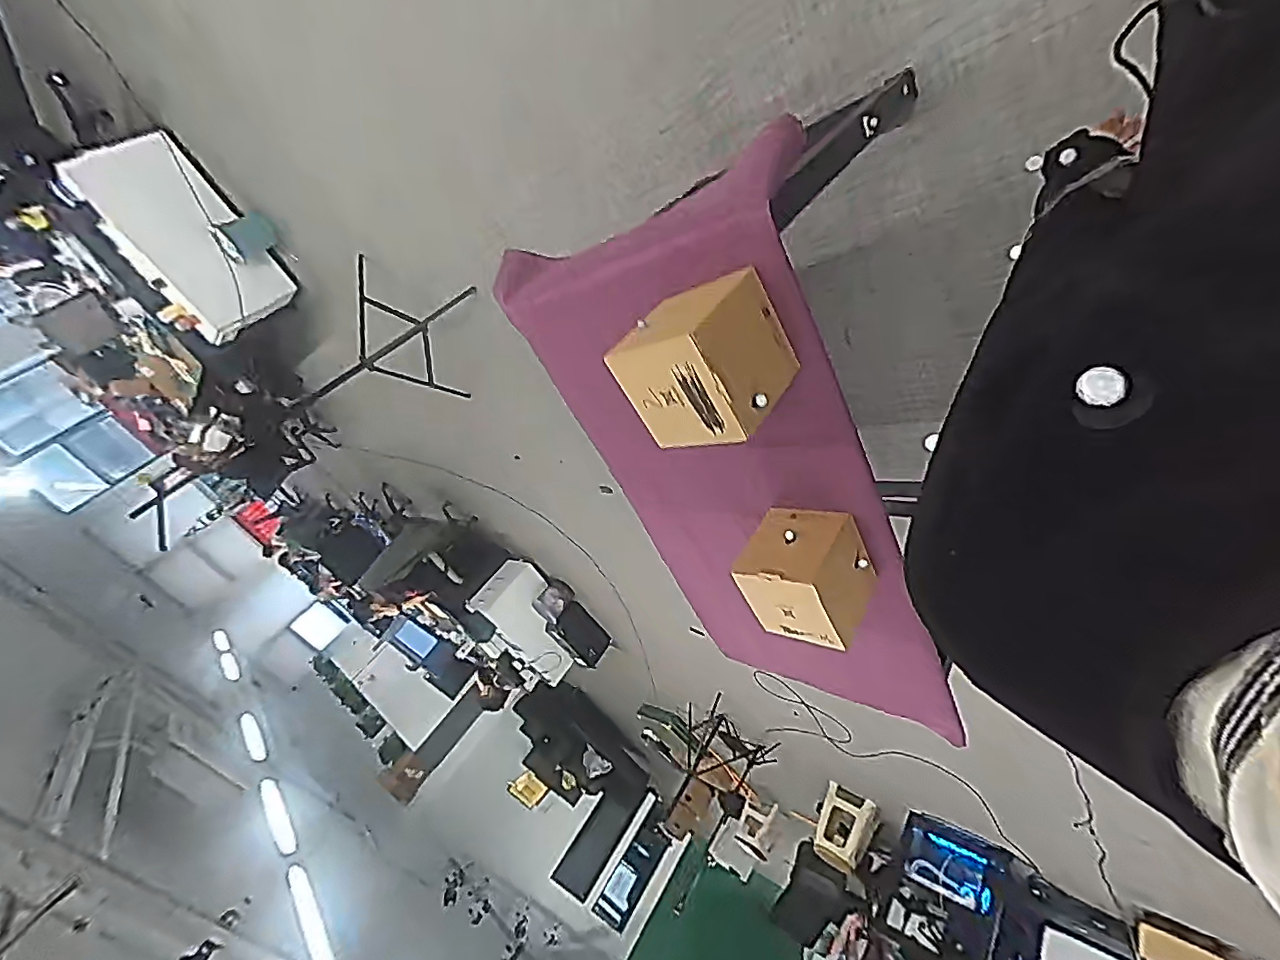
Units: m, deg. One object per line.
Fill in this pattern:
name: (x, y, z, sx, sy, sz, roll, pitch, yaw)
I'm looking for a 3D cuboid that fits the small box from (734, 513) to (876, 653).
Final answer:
small box: (0.304, 0.177, 0.981, 0.168, 0.176, 0.179, 1, 132, 47)
